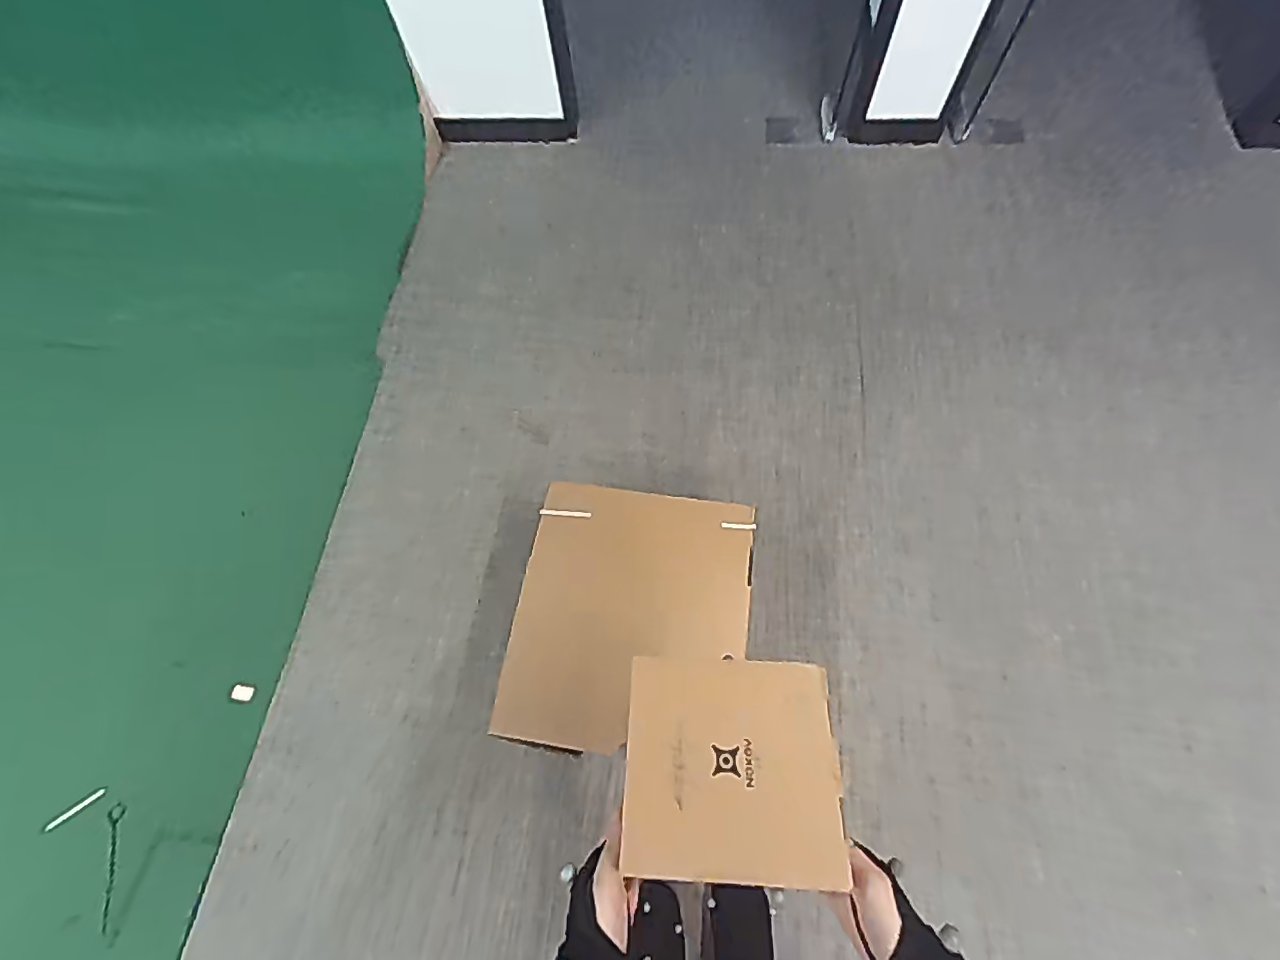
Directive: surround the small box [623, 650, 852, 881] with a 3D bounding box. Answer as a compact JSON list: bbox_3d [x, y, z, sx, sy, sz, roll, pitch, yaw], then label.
[{"bbox_3d":[0.079,0.272,0.518,0.179,0.176,0.168,2,56,3],"label":"small box"}]
